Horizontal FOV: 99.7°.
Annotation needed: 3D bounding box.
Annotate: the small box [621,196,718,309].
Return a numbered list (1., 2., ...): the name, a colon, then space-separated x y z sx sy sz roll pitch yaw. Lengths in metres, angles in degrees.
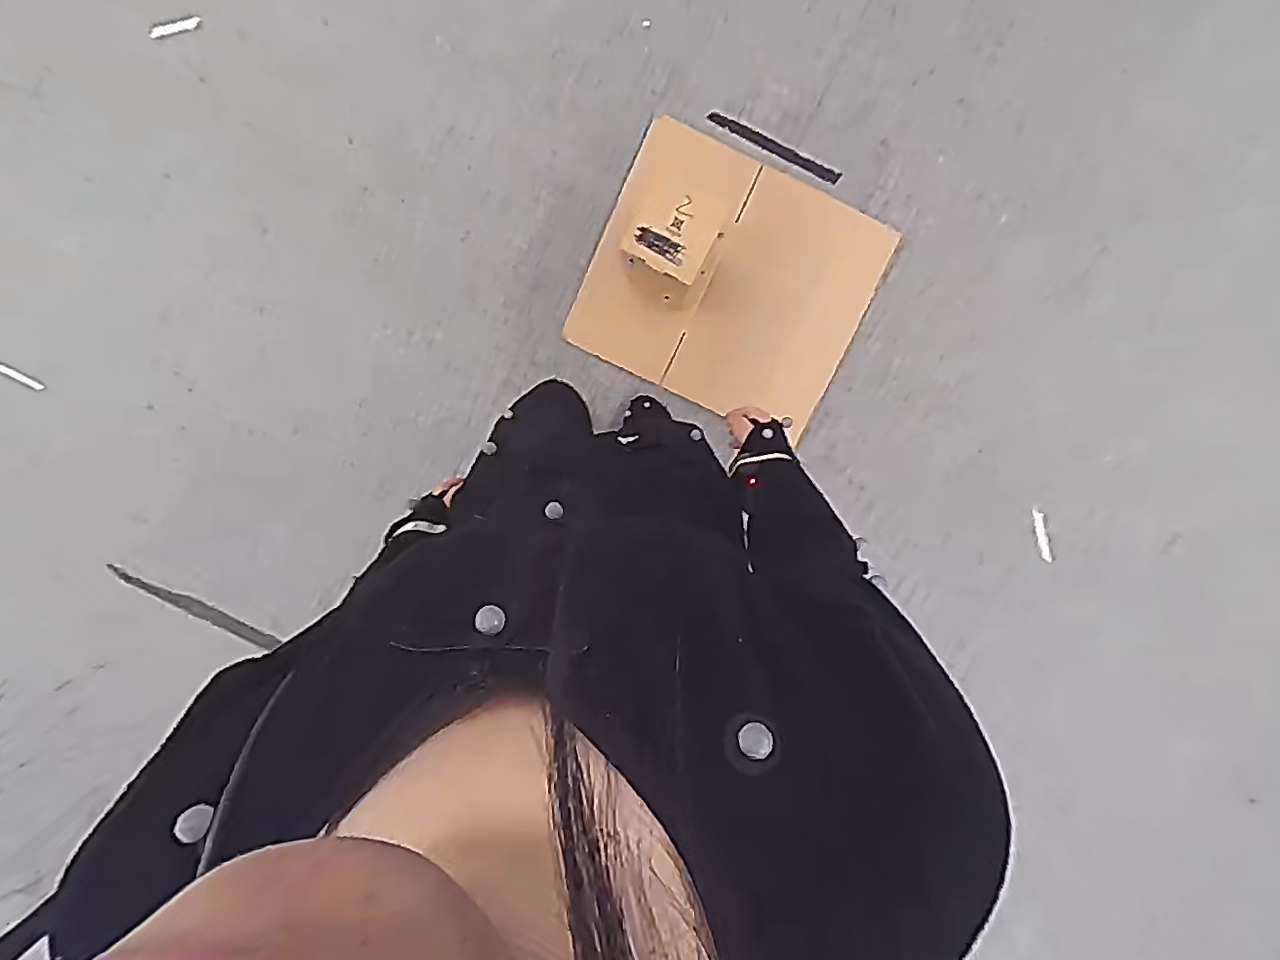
1. small box: 0.068 -0.540 1.315 0.168 0.176 0.179 29 97 -5
